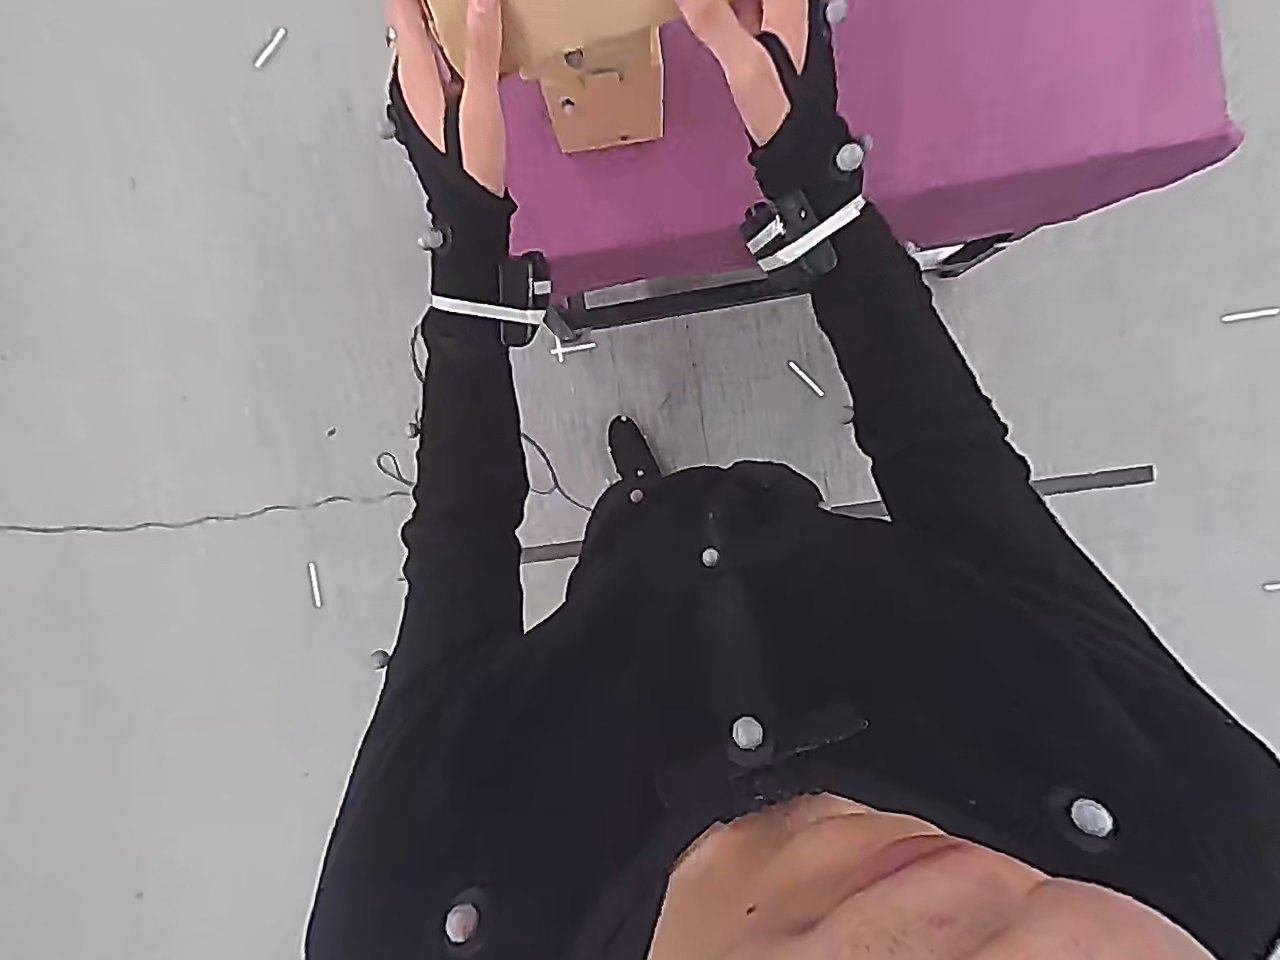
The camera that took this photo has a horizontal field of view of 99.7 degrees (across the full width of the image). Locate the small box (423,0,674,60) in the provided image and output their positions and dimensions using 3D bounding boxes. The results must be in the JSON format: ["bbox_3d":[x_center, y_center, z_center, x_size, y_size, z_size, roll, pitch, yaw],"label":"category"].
[{"bbox_3d":[-0.057,-0.378,0.316,0.179,0.176,0.168,-14,136,3],"label":"small box"}]

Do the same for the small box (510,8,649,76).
[{"bbox_3d":[-0.079,-0.609,0.629,0.179,0.176,0.168,-2,93,1],"label":"small box"}]
